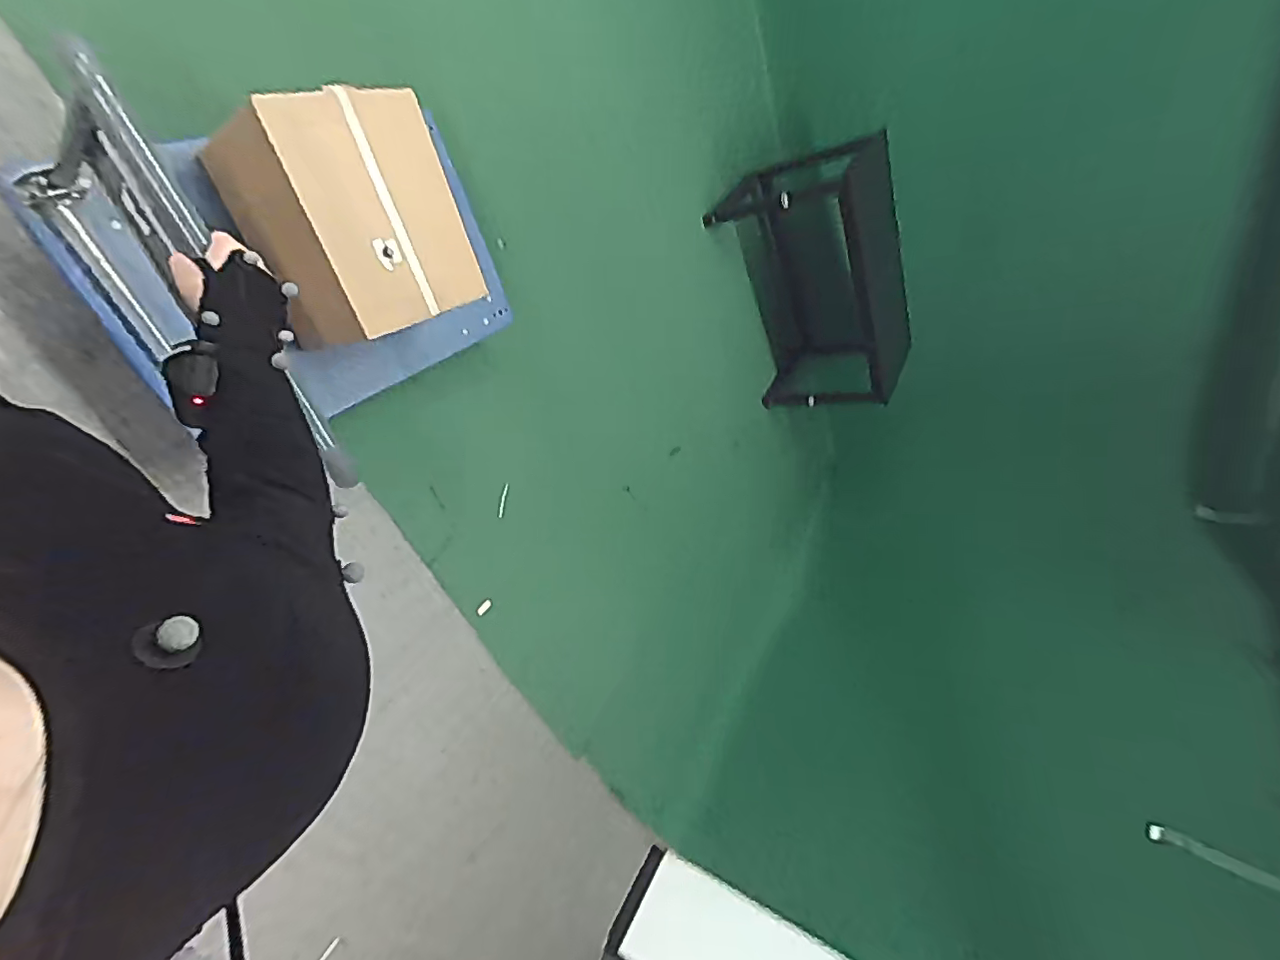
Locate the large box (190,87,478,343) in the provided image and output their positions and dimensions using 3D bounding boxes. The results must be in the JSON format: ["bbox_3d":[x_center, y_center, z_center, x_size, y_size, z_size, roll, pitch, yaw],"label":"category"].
[{"bbox_3d":[-0.623,-0.540,1.140,0.320,0.320,0.408,-42,126,-41],"label":"large box"}]
